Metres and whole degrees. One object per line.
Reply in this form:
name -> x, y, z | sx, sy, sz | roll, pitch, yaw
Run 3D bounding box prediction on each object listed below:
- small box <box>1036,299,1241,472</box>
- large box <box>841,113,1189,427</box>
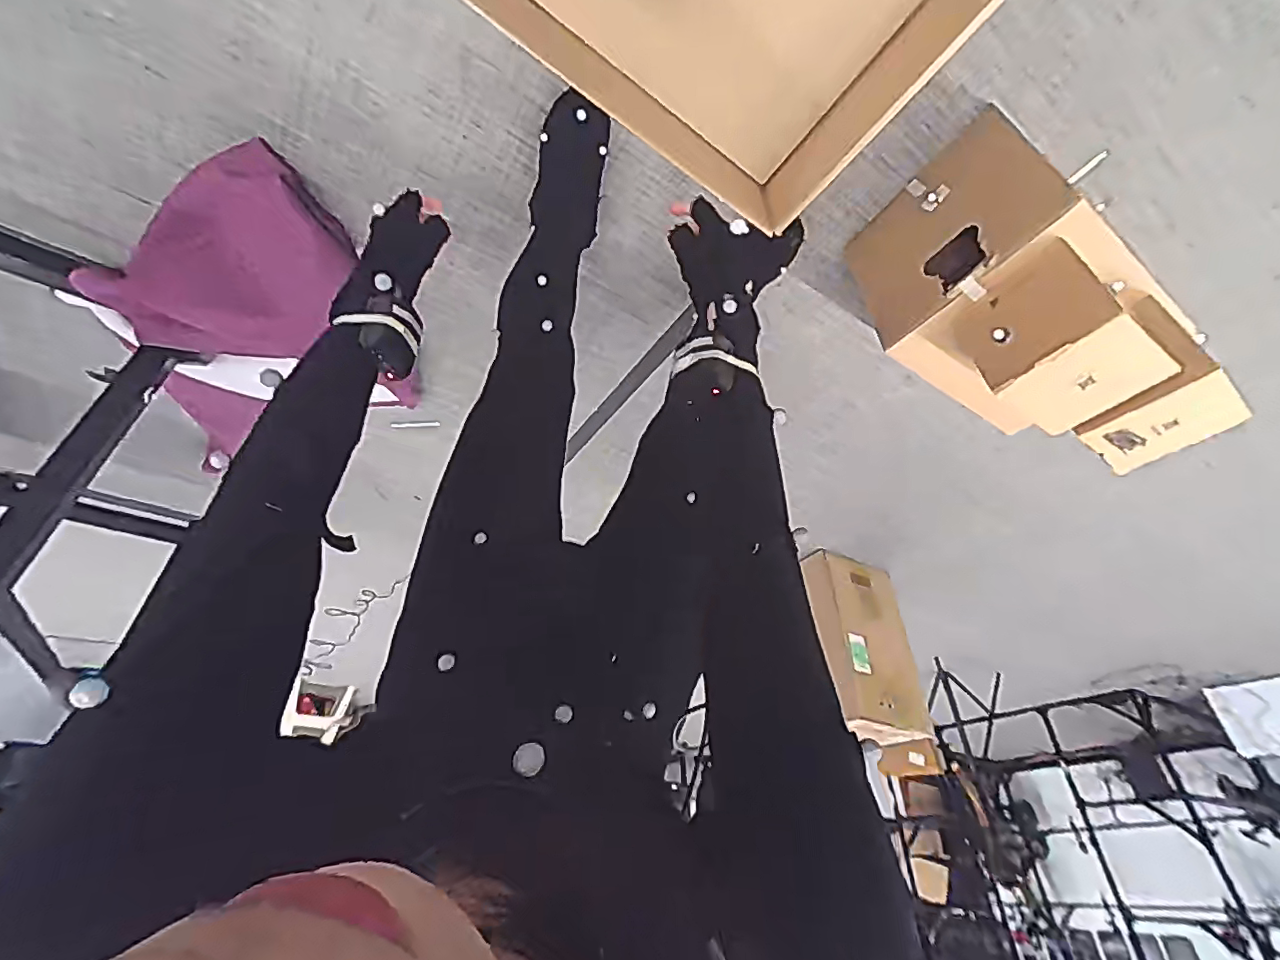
small box -> 0.780, -0.148, 0.868 | 0.168, 0.176, 0.179 | 24, 136, -29
large box -> 0.651, -0.360, 0.990 | 0.408, 0.320, 0.320 | 20, 140, -27
